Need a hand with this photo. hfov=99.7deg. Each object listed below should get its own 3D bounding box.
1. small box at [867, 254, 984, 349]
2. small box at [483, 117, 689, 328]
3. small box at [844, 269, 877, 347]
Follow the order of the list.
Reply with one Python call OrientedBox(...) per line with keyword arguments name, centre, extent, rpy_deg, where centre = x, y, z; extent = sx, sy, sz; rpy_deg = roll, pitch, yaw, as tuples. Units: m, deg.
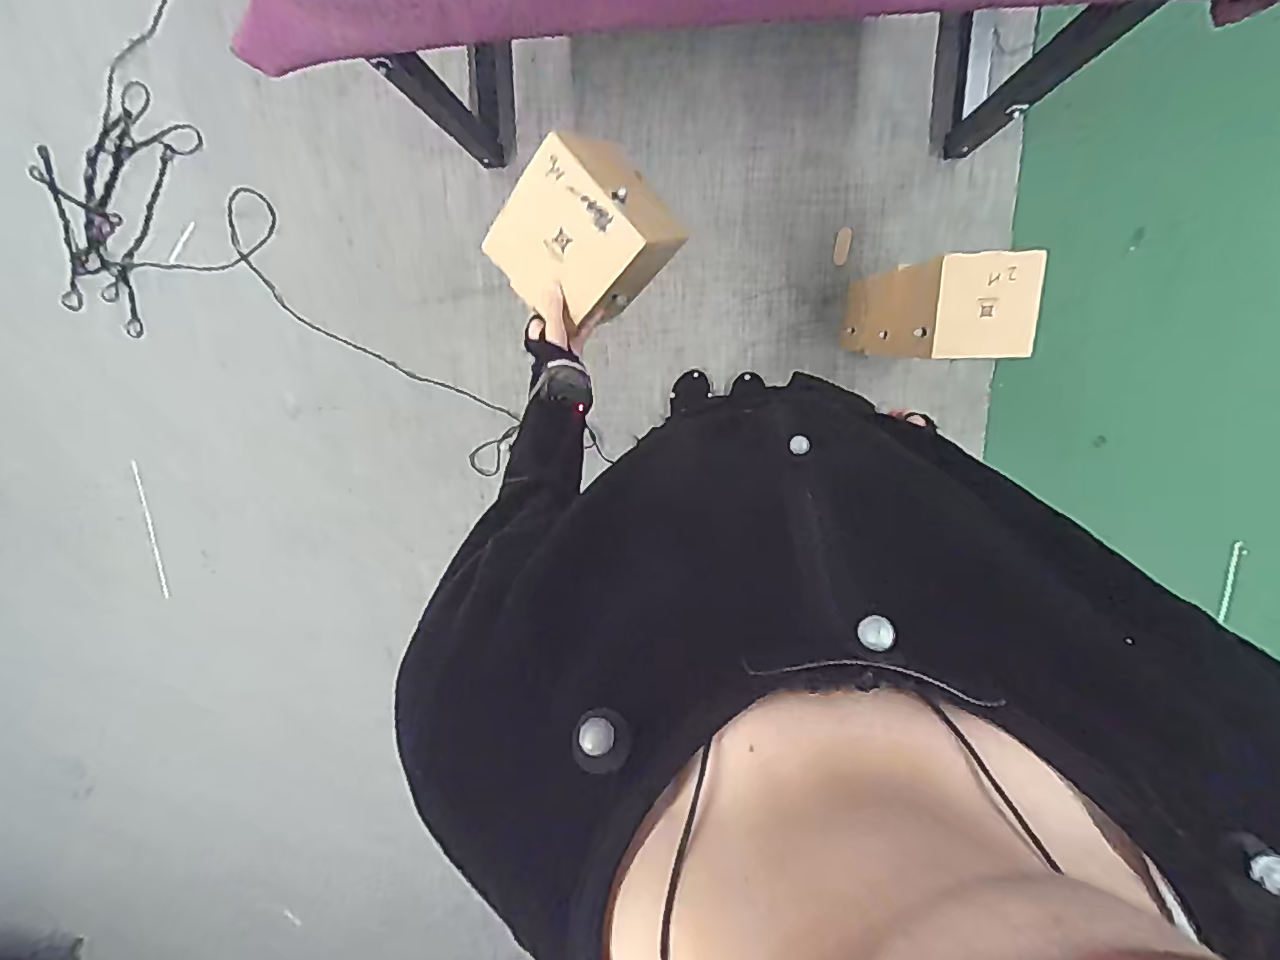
OrientedBox(name="small box", centre=(0.594, -0.370, 1.146), extent=(0.168, 0.176, 0.179), rpy_deg=(-1, 104, 6))
OrientedBox(name="small box", centre=(-0.064, -0.334, 0.715), extent=(0.168, 0.176, 0.179), rpy_deg=(49, 127, -6))
OrientedBox(name="small box", centre=(0.604, -0.408, 1.303), extent=(0.179, 0.176, 0.168), rpy_deg=(2, 103, 5))
